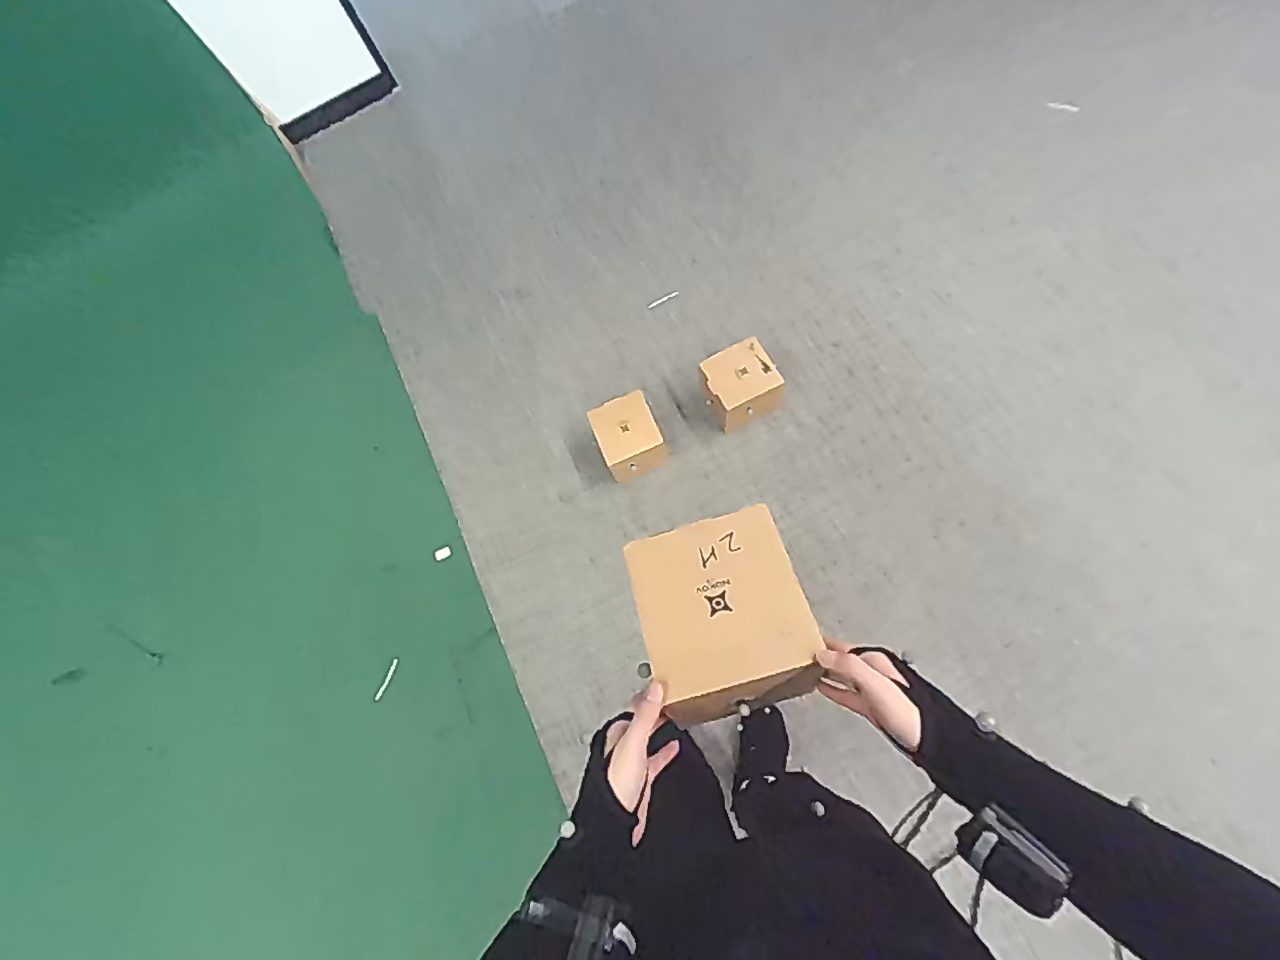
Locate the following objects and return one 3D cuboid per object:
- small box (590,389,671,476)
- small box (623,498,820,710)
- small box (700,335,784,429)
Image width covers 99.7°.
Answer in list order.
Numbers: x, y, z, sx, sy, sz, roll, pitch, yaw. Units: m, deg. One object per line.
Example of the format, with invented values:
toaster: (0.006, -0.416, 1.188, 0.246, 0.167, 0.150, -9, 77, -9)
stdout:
small box: (-0.022, -0.124, 1.540, 0.168, 0.176, 0.179, -24, 71, 1)
small box: (0.091, 0.151, 0.618, 0.168, 0.176, 0.179, -16, 57, 2)
small box: (0.288, -0.270, 1.531, 0.179, 0.176, 0.168, -27, 72, 1)
